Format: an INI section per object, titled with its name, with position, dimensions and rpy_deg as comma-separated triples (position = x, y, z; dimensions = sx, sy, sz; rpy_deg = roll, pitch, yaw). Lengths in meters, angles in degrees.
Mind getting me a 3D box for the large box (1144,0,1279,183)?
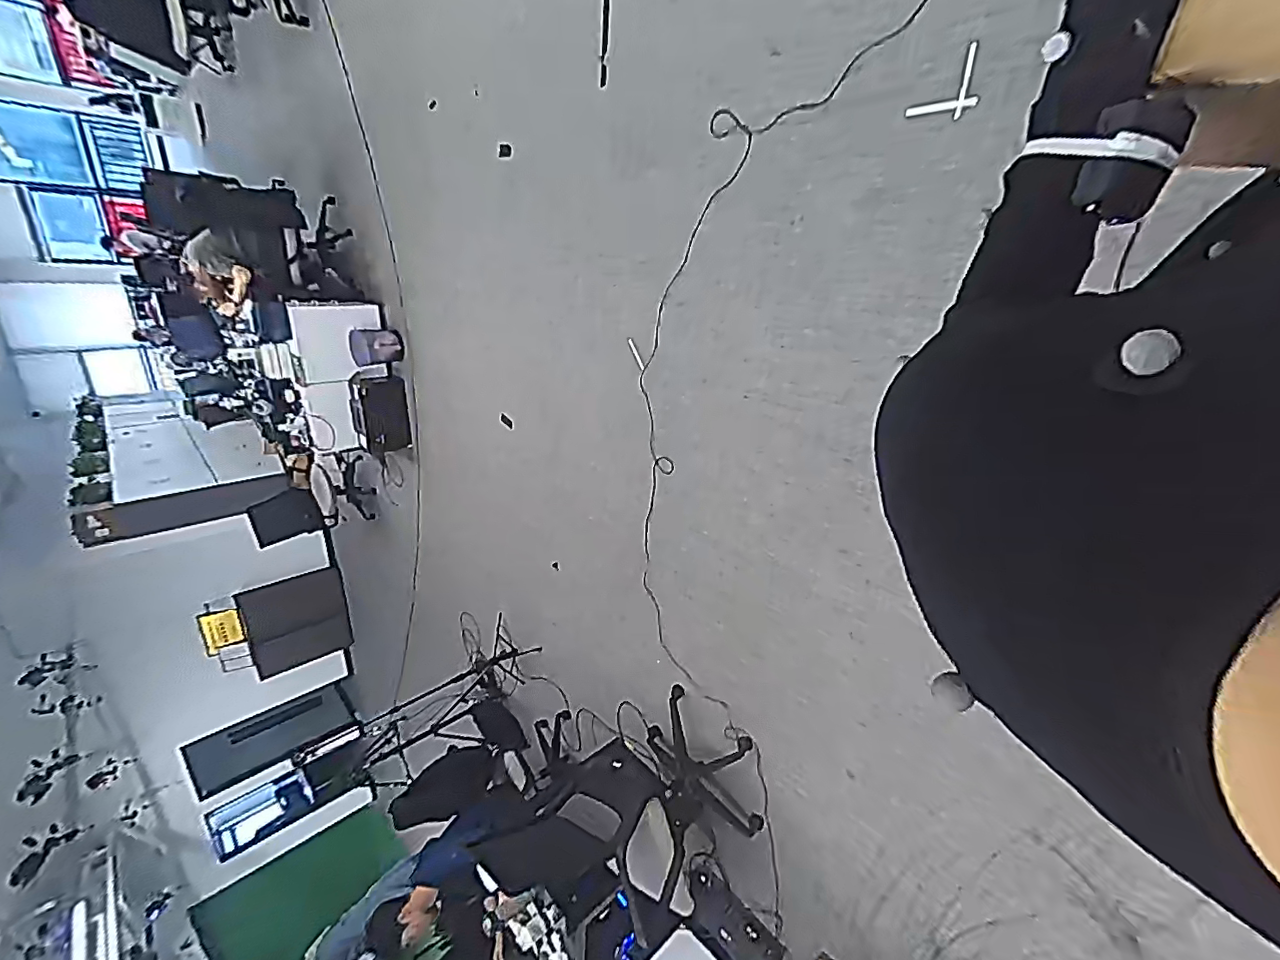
[large box]
position = 0.595, -0.360, 0.295
dimensions = 0.408, 0.320, 0.320
rpy_deg = 25, 121, 36
